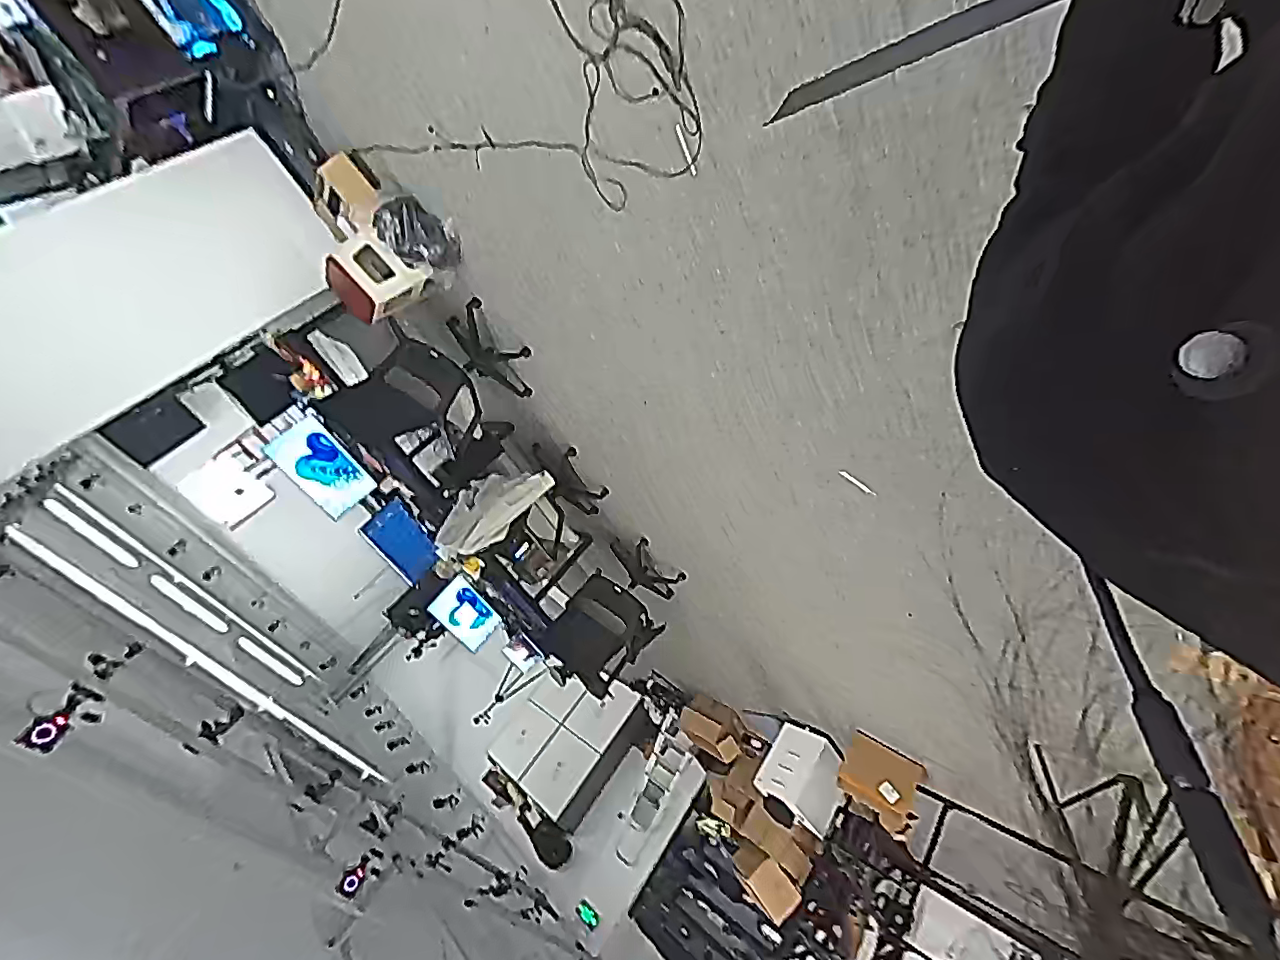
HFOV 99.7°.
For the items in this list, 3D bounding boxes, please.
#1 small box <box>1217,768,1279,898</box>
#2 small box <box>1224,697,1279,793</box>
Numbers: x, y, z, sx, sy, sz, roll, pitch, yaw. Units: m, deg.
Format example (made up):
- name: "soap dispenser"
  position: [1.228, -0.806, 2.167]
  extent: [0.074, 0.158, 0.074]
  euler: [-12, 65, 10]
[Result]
- name: "small box"
  position: [1.252, 0.696, 1.035]
  extent: [0.168, 0.176, 0.179]
  euler: [13, 143, 42]
- name: "small box"
  position: [1.341, 0.574, 1.102]
  extent: [0.179, 0.176, 0.168]
  euler: [11, 142, 44]
